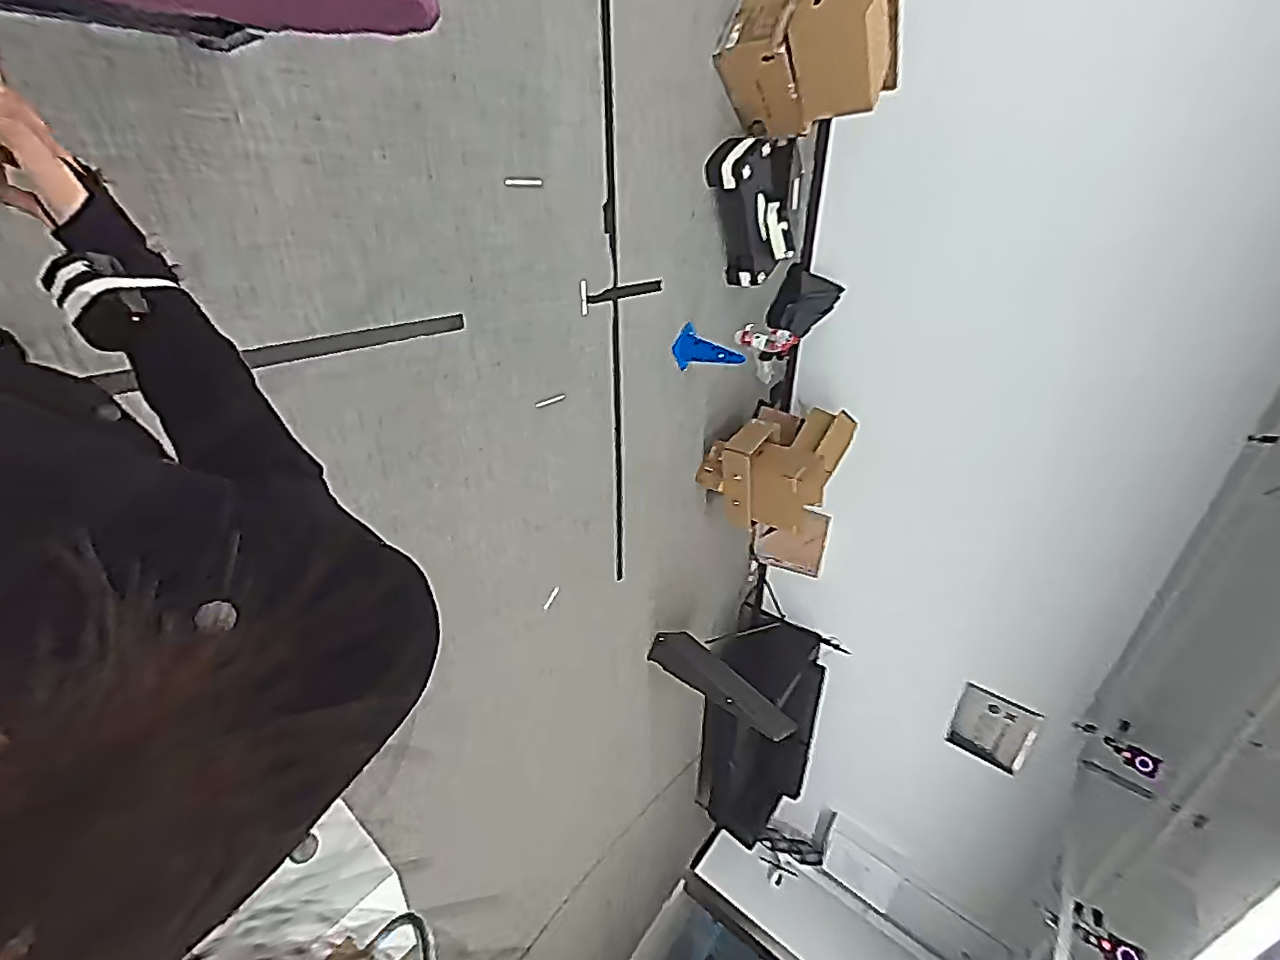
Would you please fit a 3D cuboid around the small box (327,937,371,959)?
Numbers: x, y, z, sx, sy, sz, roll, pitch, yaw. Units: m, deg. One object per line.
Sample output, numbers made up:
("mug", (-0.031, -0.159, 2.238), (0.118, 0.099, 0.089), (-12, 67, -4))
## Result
("small box", (-0.771, 1.353, 1.403), (0.179, 0.176, 0.168), (-35, 134, -40))
